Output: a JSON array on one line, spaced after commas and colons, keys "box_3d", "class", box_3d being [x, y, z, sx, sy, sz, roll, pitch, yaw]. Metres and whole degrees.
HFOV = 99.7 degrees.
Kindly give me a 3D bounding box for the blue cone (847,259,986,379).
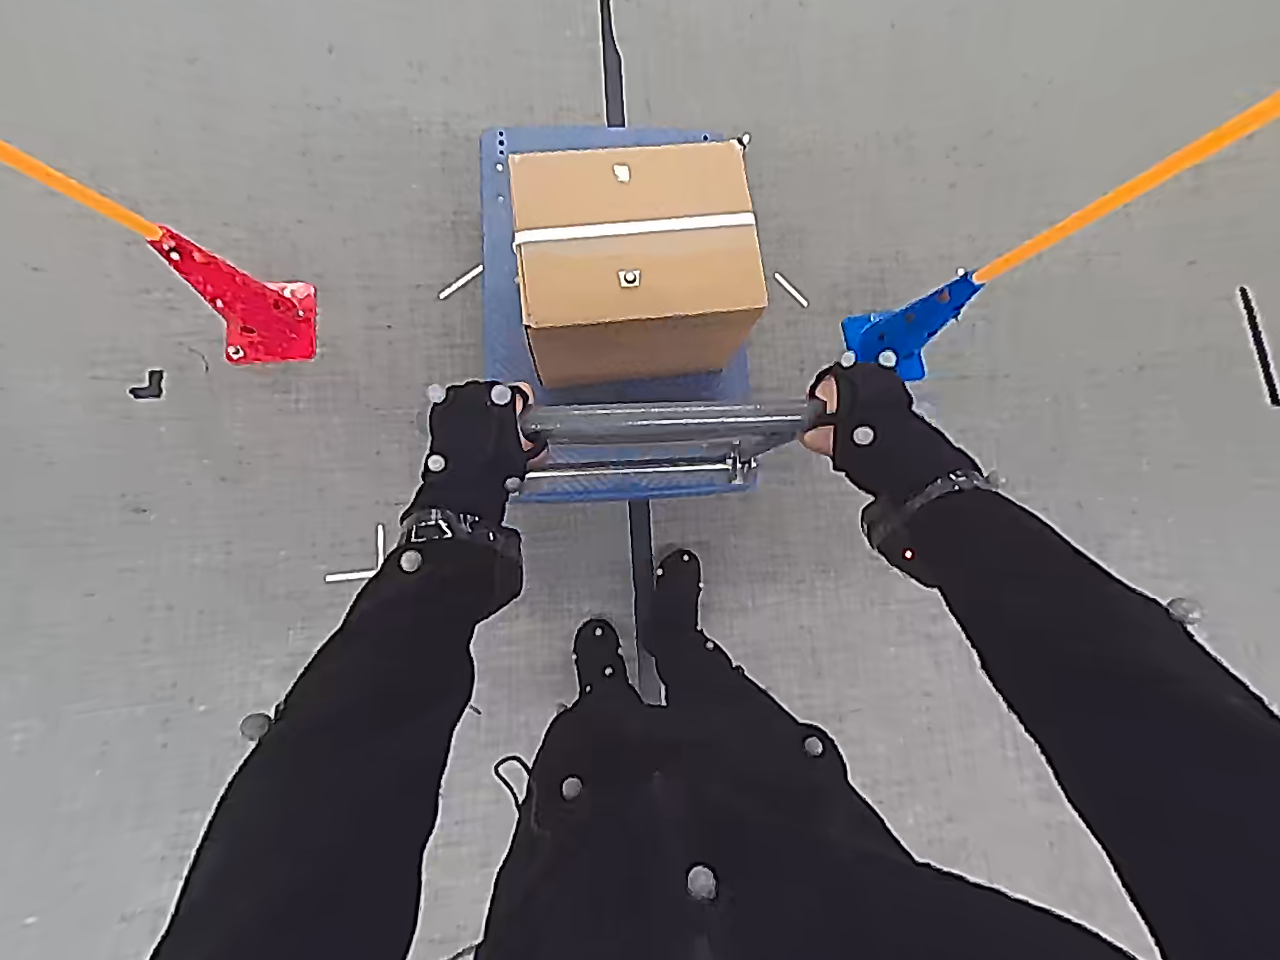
[{"box_3d": [0.672, -0.391, 1.278, 0.193, 0.380, 0.192, -7, 81, -7], "class": "blue cone"}]
